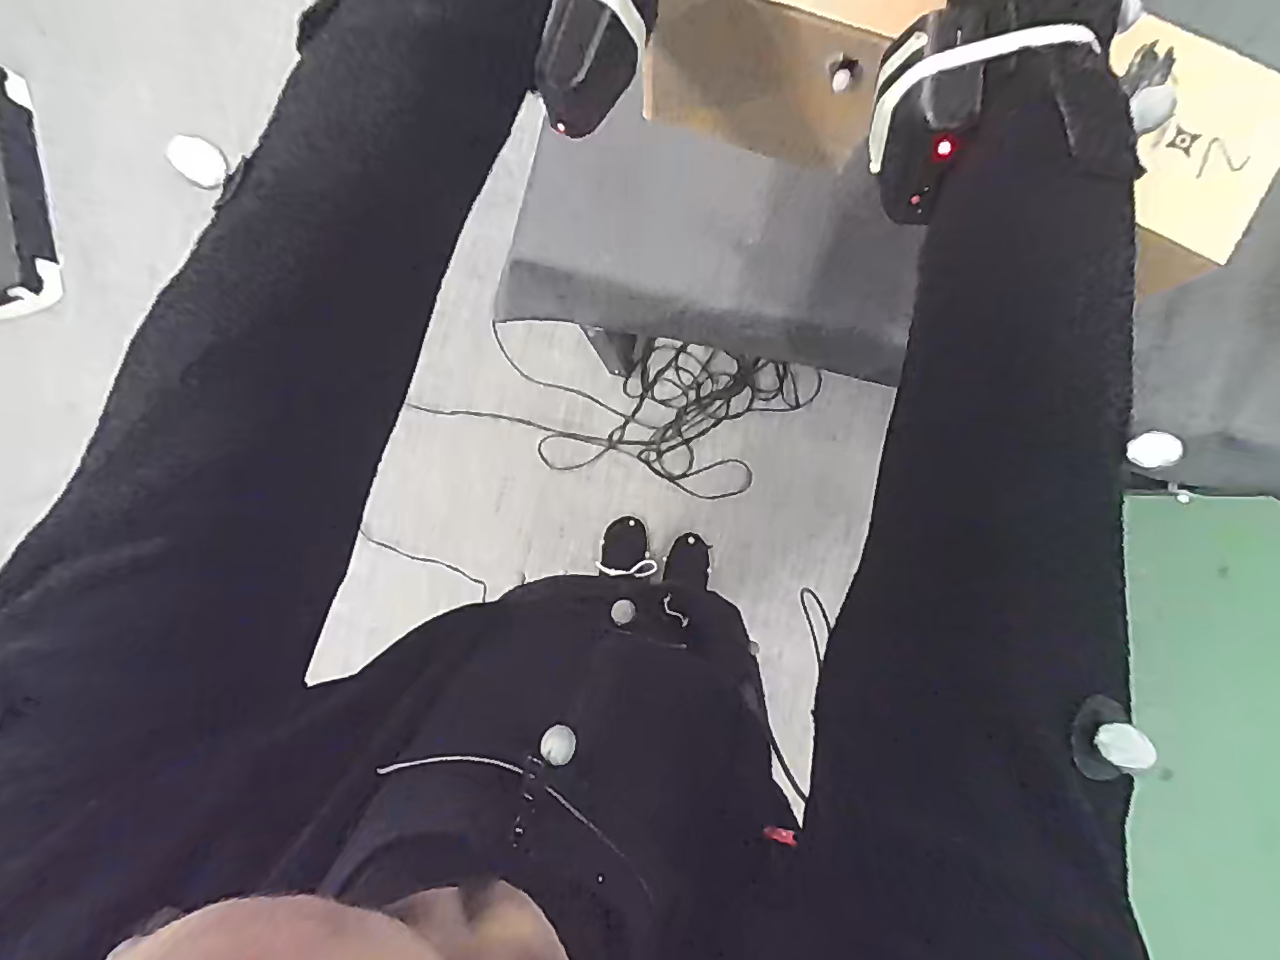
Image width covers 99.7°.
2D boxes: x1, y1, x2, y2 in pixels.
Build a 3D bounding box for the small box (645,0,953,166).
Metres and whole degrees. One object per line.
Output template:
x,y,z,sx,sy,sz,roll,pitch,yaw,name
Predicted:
0.104,-0.349,0.368,0.179,0.176,0.168,15,97,-2,small box
